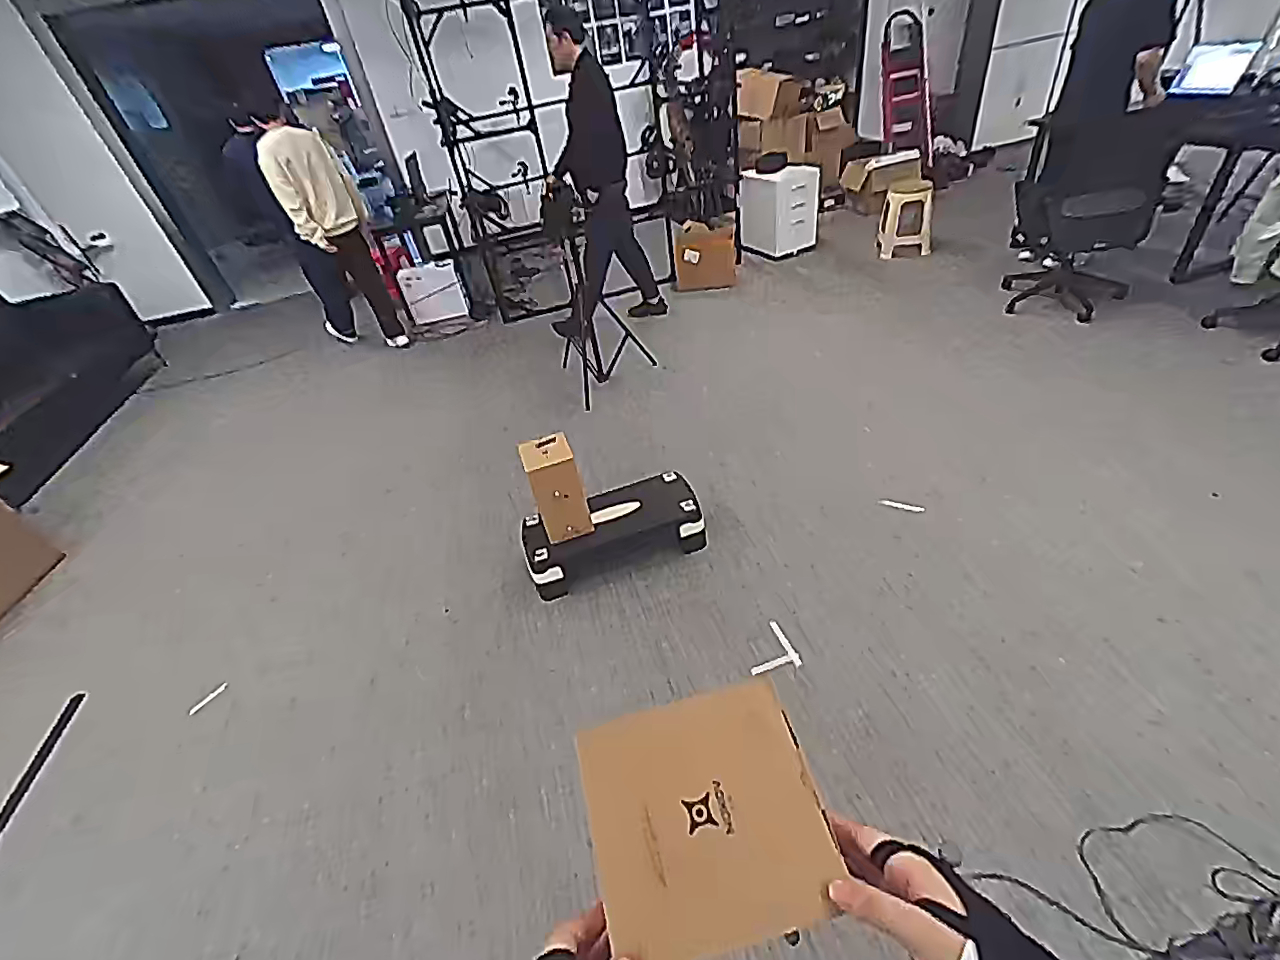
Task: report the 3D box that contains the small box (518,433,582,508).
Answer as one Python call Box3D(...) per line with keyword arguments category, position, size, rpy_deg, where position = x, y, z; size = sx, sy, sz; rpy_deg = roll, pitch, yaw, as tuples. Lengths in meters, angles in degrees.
Box3D(category="small box", position=(-0.310, -0.032, 1.871), size=(0.168, 0.176, 0.179), rpy_deg=(-18, 39, -9))

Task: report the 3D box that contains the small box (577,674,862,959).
Box3D(category="small box", position=(0.056, 0.294, 0.471), size=(0.179, 0.176, 0.168), rpy_deg=(-15, 54, -6))

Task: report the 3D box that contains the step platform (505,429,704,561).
Box3D(category="step platform", position=(-0.119, 0.049, 1.933), size=(0.684, 0.204, 0.286), rpy_deg=(-17, 38, -9))

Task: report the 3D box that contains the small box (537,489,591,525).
Box3D(category="small box", position=(-0.283, 0.098, 1.968), size=(0.168, 0.176, 0.179), rpy_deg=(-18, 39, -9))
